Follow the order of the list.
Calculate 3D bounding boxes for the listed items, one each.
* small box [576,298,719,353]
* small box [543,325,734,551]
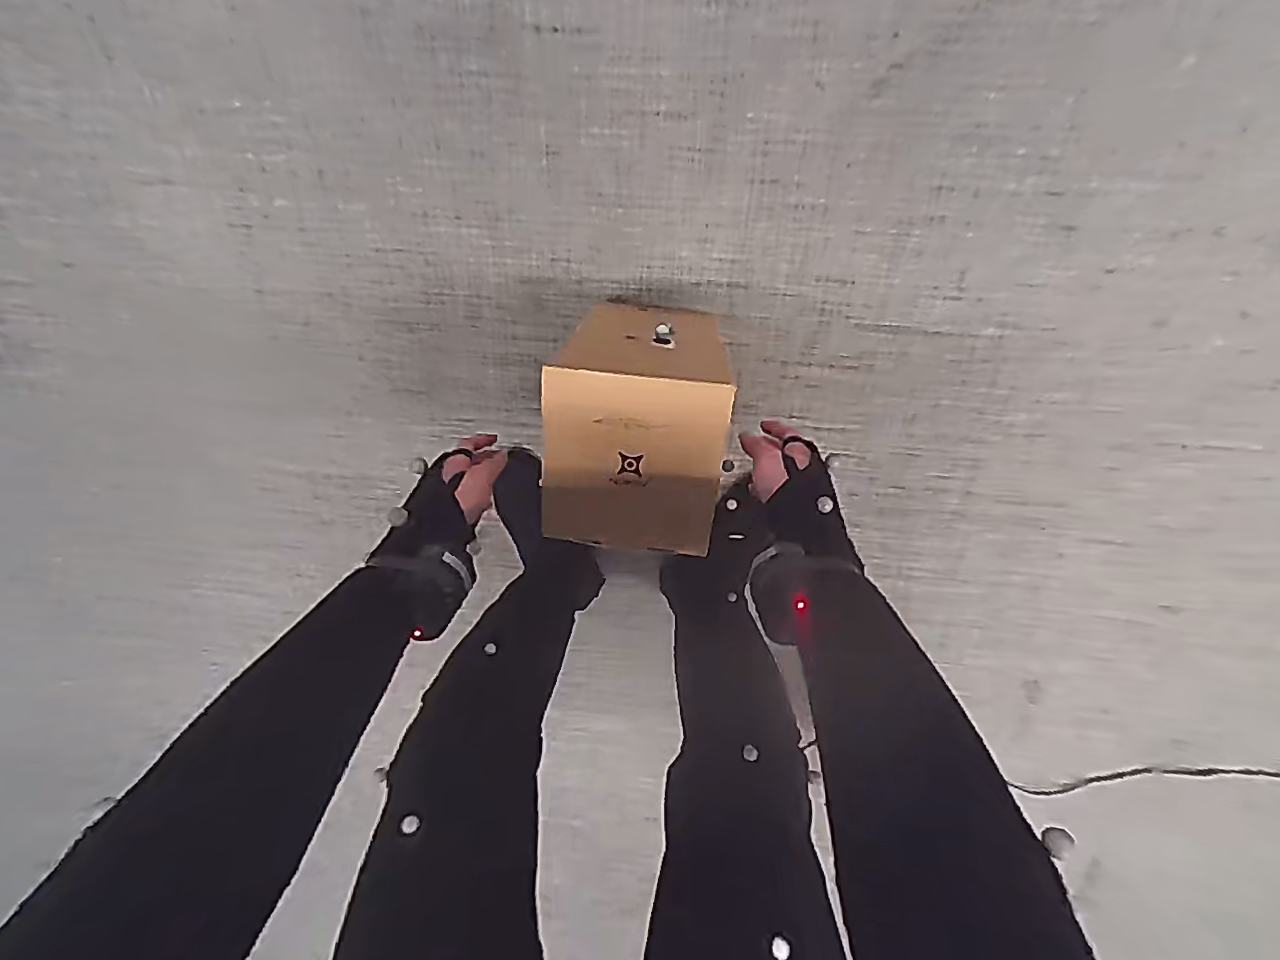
[{"bbox_3d":[0.008,-0.126,0.710,0.168,0.176,0.179,8,119,2],"label":"small box"},{"bbox_3d":[-0.002,-0.051,0.564,0.168,0.176,0.179,5,117,1],"label":"small box"}]
